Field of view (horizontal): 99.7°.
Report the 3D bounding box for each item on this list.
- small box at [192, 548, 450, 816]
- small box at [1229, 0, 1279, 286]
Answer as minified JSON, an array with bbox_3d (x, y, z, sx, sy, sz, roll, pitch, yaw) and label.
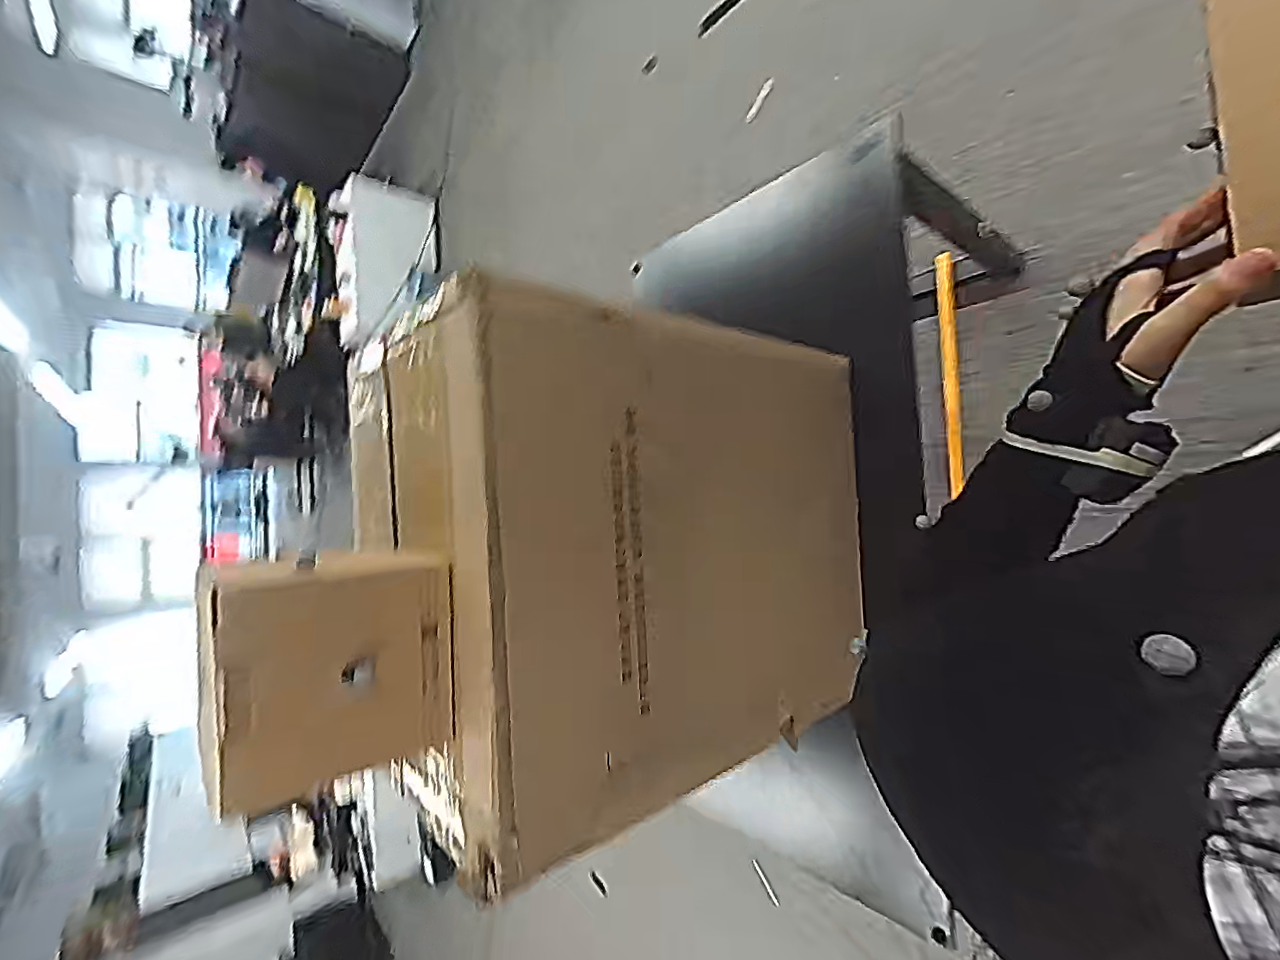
[{"bbox_3d":[-0.283,0.153,0.487,0.179,0.176,0.168,-4,88,46],"label":"small box"},{"bbox_3d":[0.448,-0.224,0.295,0.168,0.176,0.179,-5,94,49],"label":"small box"}]
